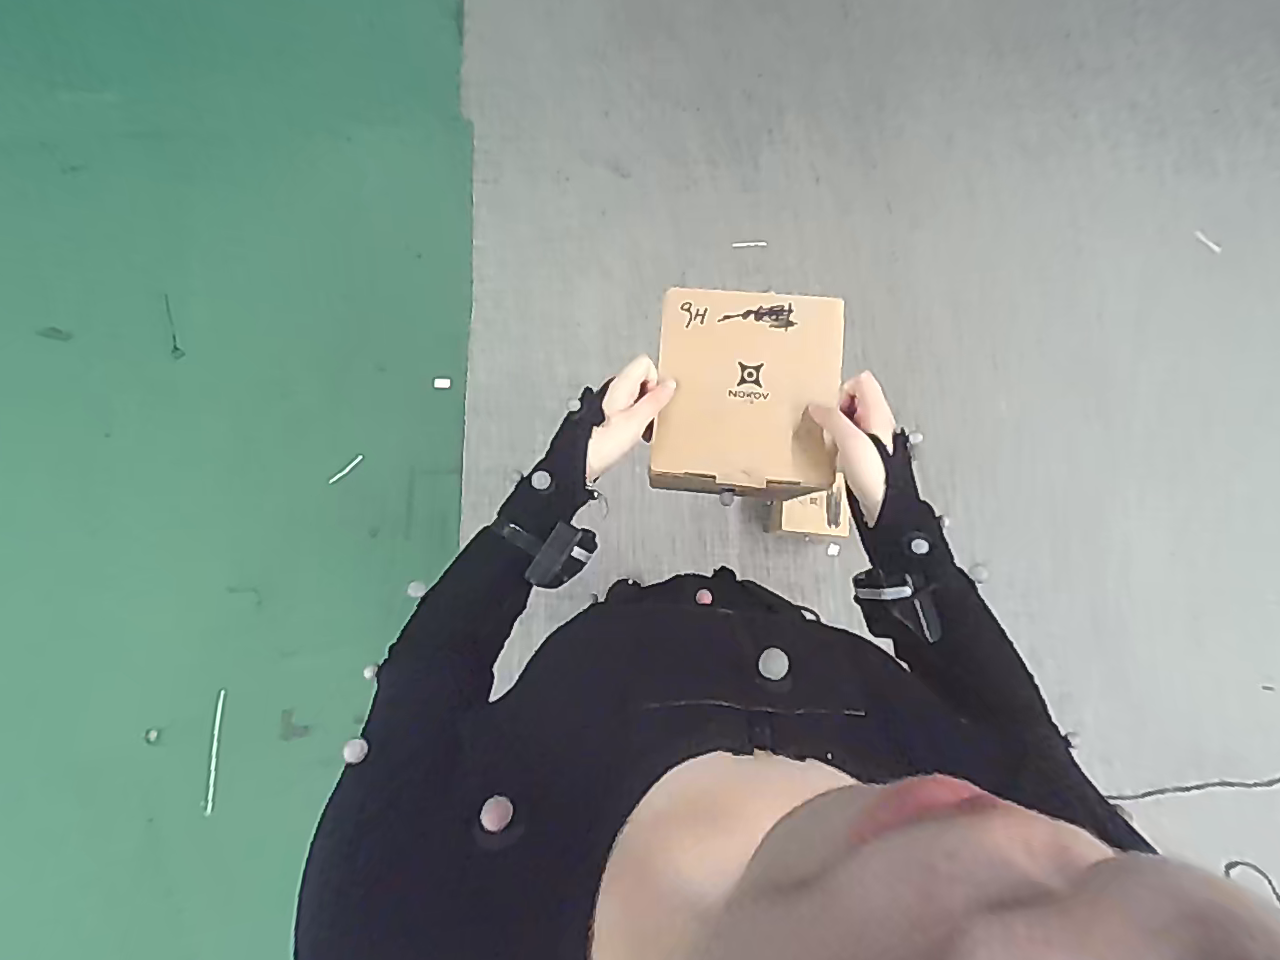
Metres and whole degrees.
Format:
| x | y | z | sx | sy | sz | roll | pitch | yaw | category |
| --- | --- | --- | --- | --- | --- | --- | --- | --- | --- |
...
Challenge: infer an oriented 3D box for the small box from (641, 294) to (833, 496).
| x | y | z | sx | sy | sz | roll | pitch | yaw | category |
| --- | --- | --- | --- | --- | --- | --- | --- | --- | --- |
| 0.094 | -0.077 | 0.579 | 0.168 | 0.176 | 0.179 | 5 | 86 | 2 | small box |
